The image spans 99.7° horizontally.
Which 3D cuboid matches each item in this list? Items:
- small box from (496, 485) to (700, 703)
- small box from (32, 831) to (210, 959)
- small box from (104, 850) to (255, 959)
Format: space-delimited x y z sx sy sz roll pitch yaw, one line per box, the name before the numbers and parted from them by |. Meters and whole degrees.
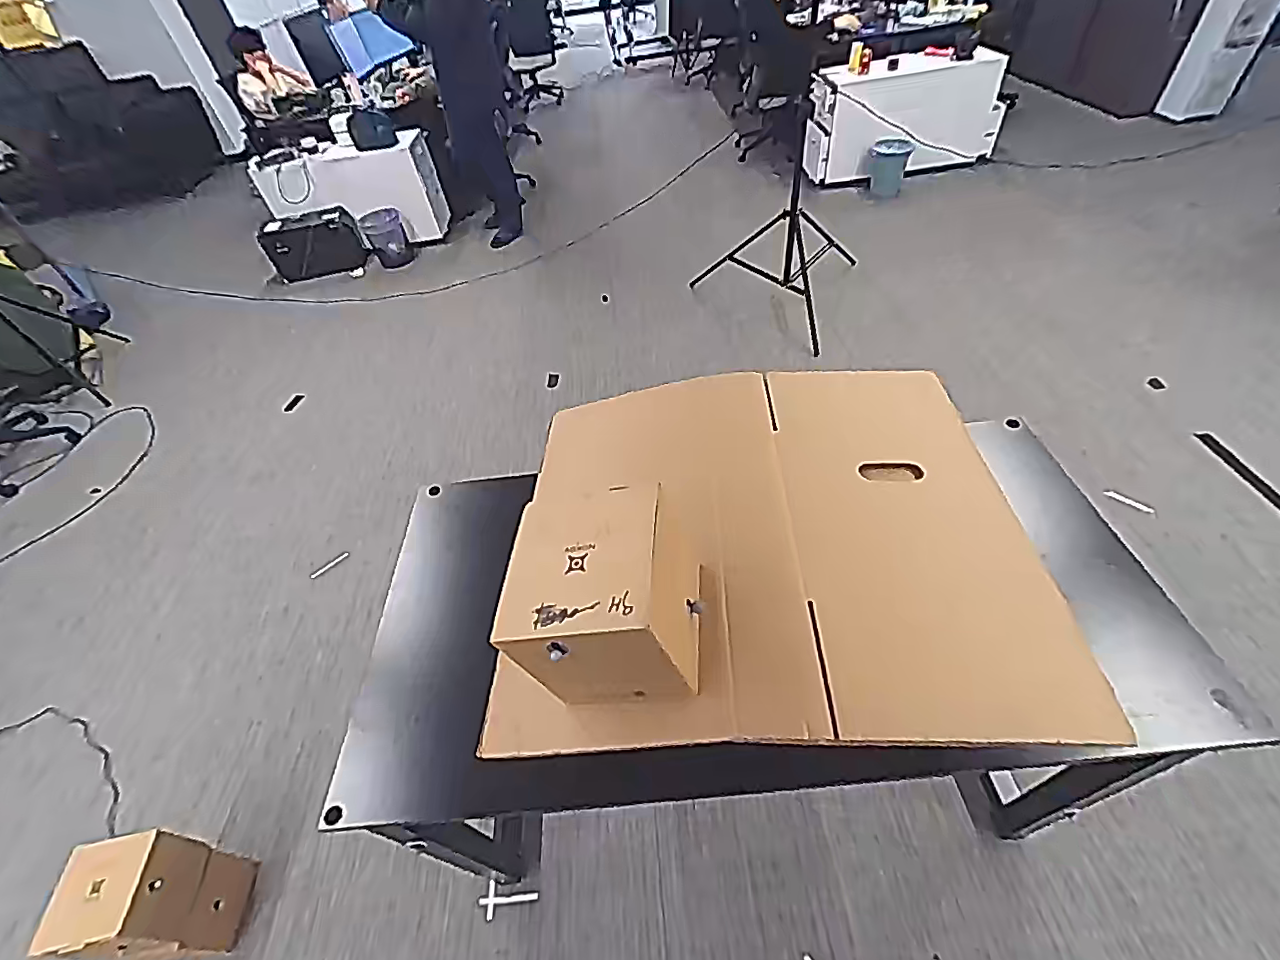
small box | -0.032 0.134 0.616 0.168 0.176 0.179 -10 45 18
small box | -1.032 0.847 1.098 0.168 0.176 0.179 -11 46 -4
small box | -1.012 0.961 1.212 0.168 0.176 0.179 -10 47 0
